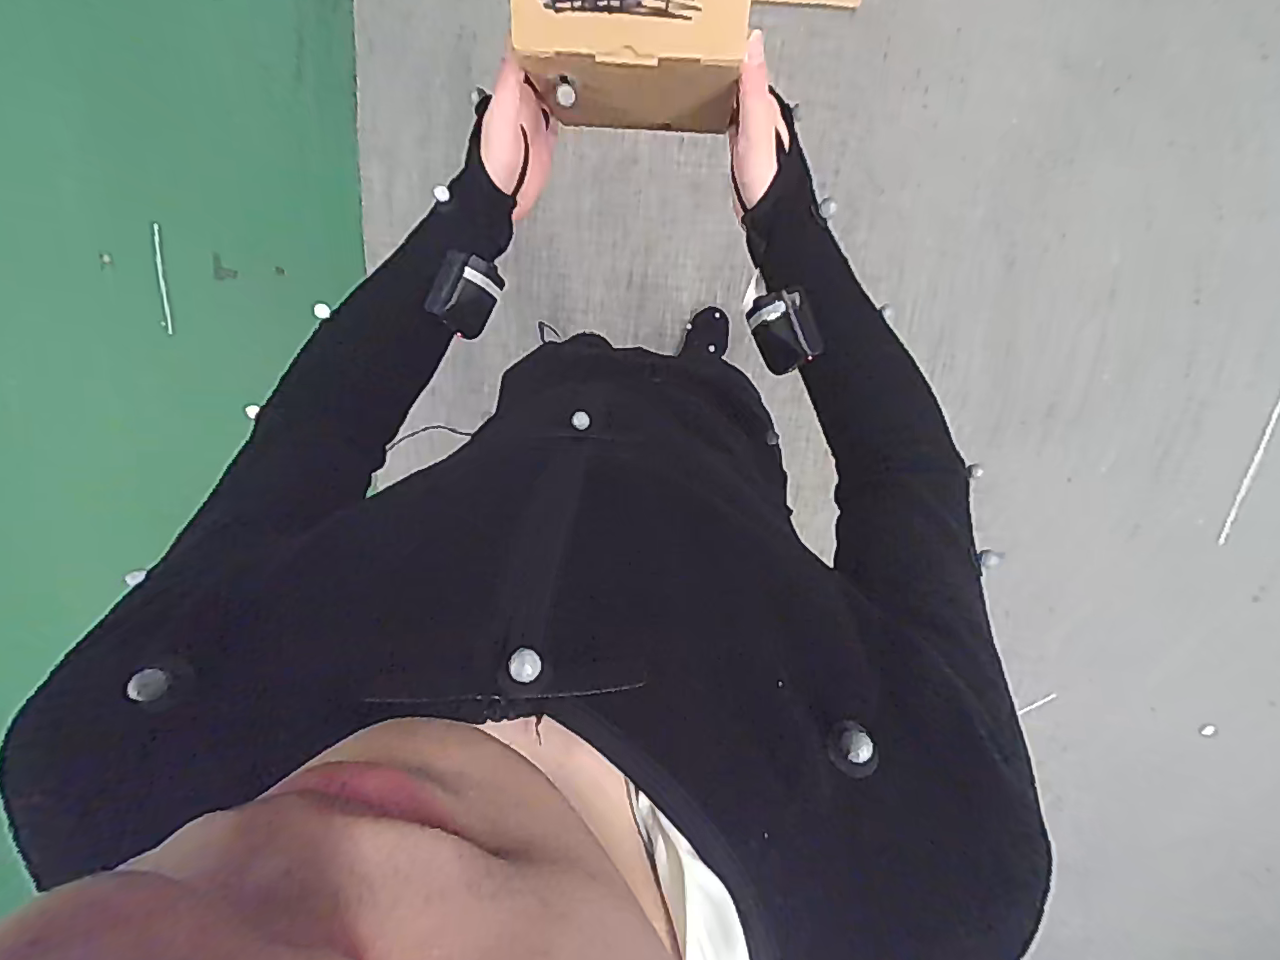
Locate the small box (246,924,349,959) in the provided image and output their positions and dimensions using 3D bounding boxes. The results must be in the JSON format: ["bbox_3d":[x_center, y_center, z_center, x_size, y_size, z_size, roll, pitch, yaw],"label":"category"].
[{"bbox_3d":[-0.683,1.003,1.037,0.179,0.176,0.168,7,107,5],"label":"small box"}]
